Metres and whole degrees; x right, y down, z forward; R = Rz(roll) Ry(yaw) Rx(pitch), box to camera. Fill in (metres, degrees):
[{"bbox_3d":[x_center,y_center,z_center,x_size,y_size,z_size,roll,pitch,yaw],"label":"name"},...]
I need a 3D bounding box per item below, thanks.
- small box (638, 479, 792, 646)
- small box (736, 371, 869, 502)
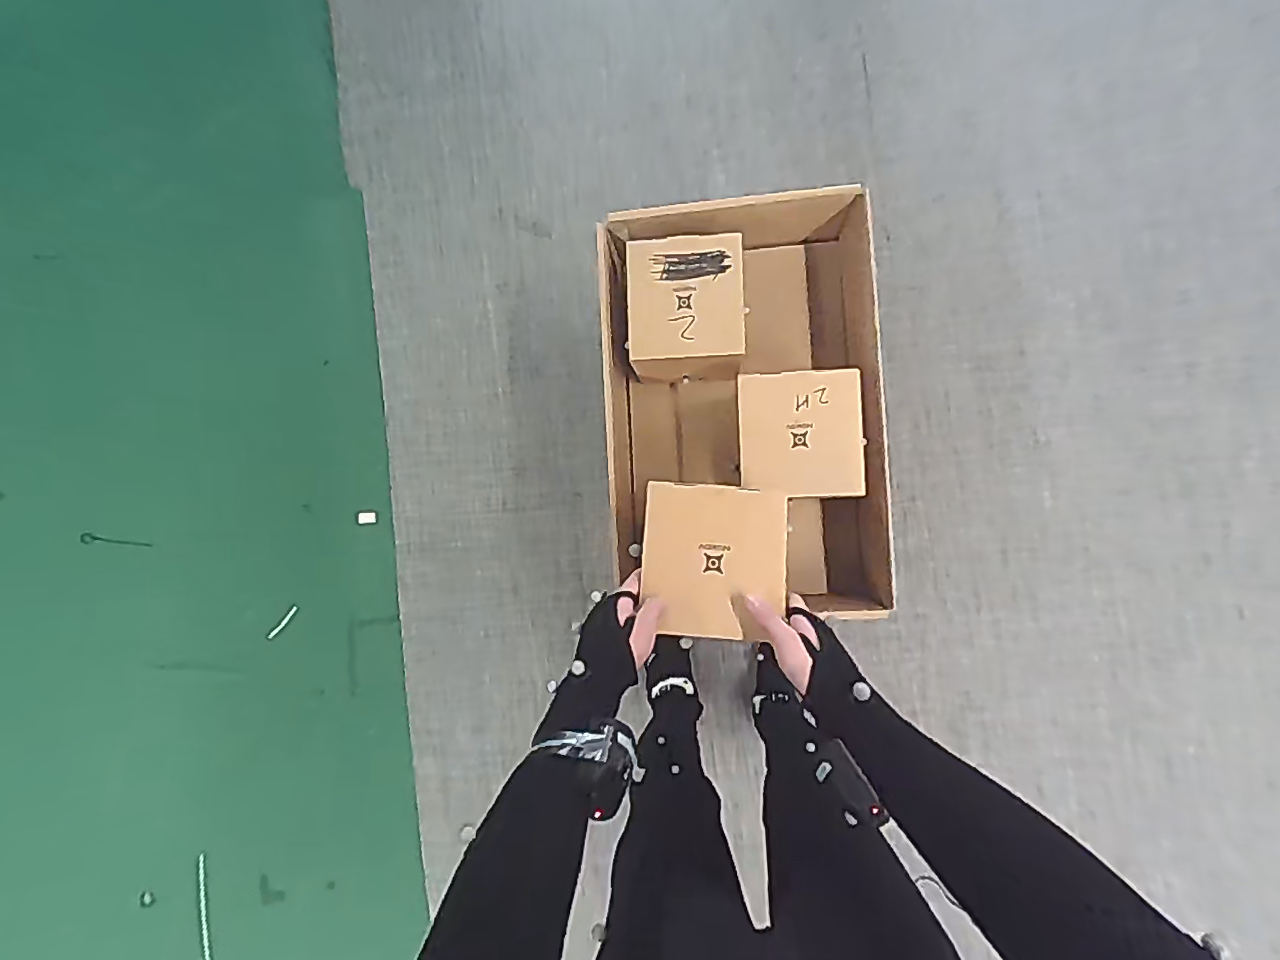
[{"bbox_3d":[0.089,0.110,0.684,0.168,0.176,0.179,5,74,2],"label":"small box"},{"bbox_3d":[0.233,-0.056,0.807,0.168,0.176,0.179,-1,88,7],"label":"small box"}]
